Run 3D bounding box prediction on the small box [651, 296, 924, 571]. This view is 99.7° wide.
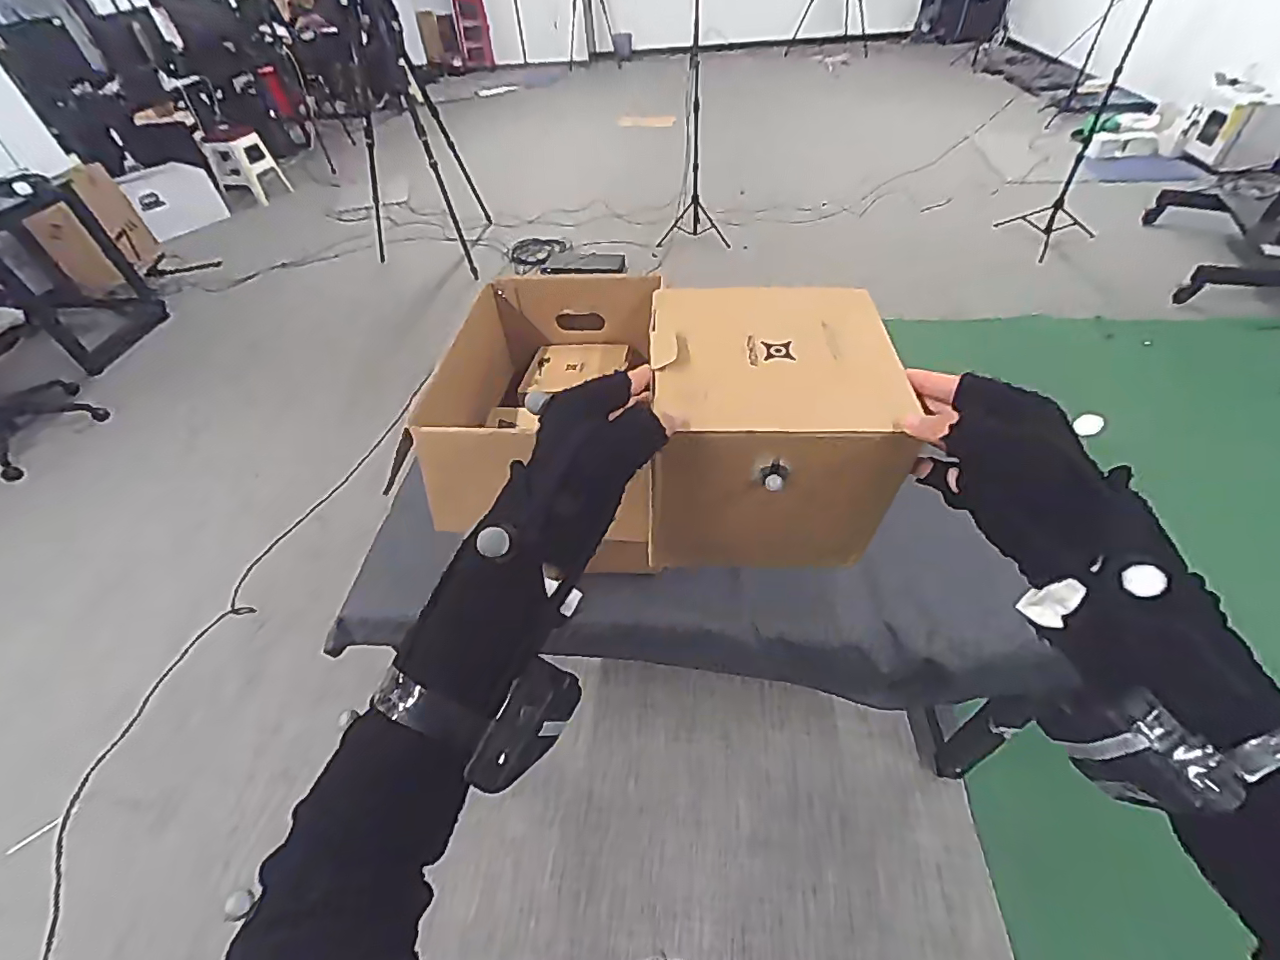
[{"bbox_3d":[0.097,-0.035,0.455,0.179,0.176,0.168,1,50,1],"label":"small box"}]
